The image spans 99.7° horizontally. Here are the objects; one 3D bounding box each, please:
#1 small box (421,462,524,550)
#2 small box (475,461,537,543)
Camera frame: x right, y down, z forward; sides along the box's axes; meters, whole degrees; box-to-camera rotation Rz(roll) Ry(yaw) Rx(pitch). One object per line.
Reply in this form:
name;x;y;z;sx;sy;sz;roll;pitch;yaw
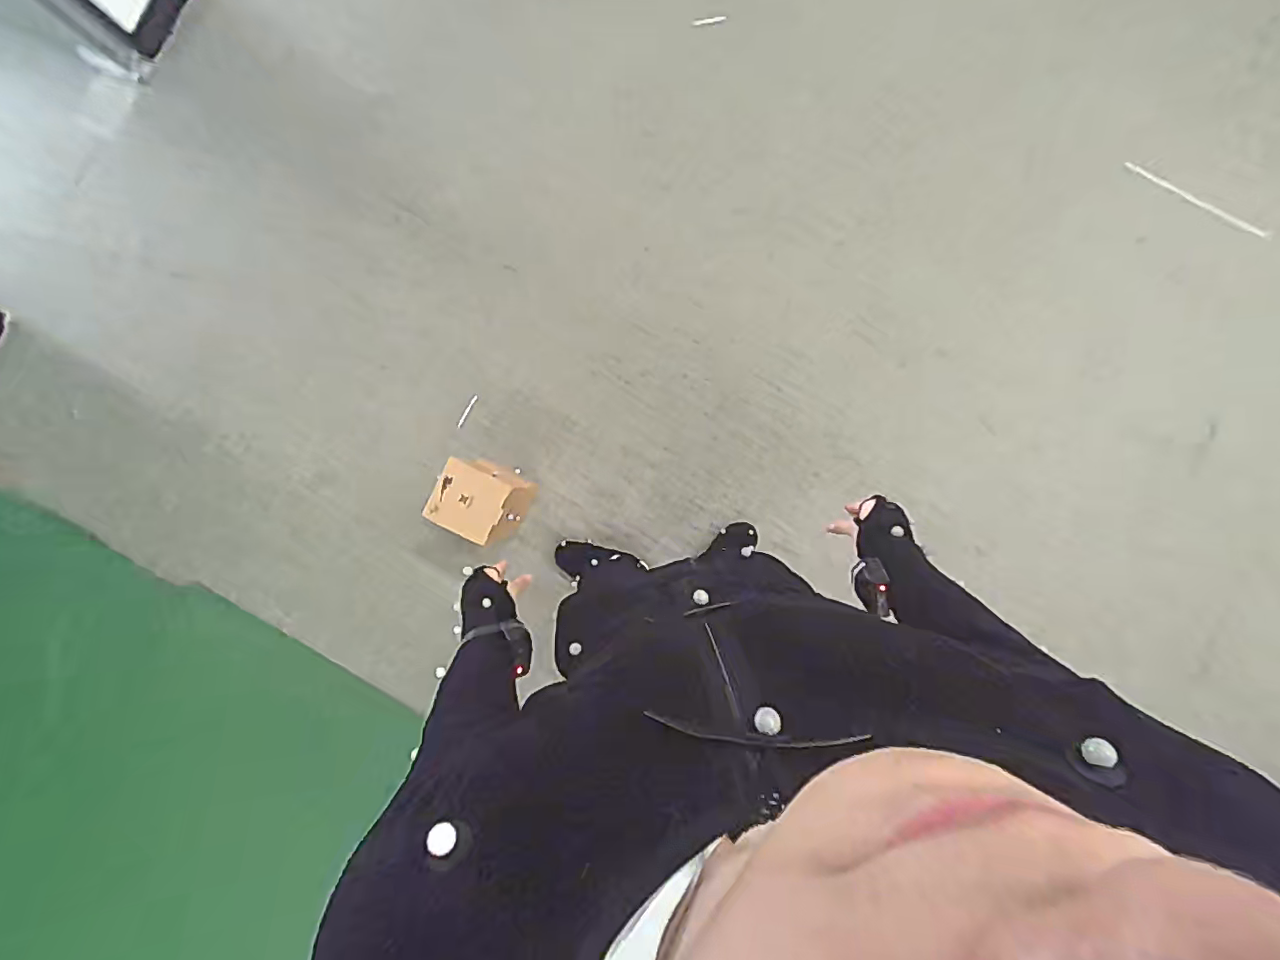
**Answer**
small box;-0.423;0.063;1.402;0.179;0.176;0.168;26;89;1
small box;-0.416;0.064;1.566;0.168;0.176;0.179;29;89;2
